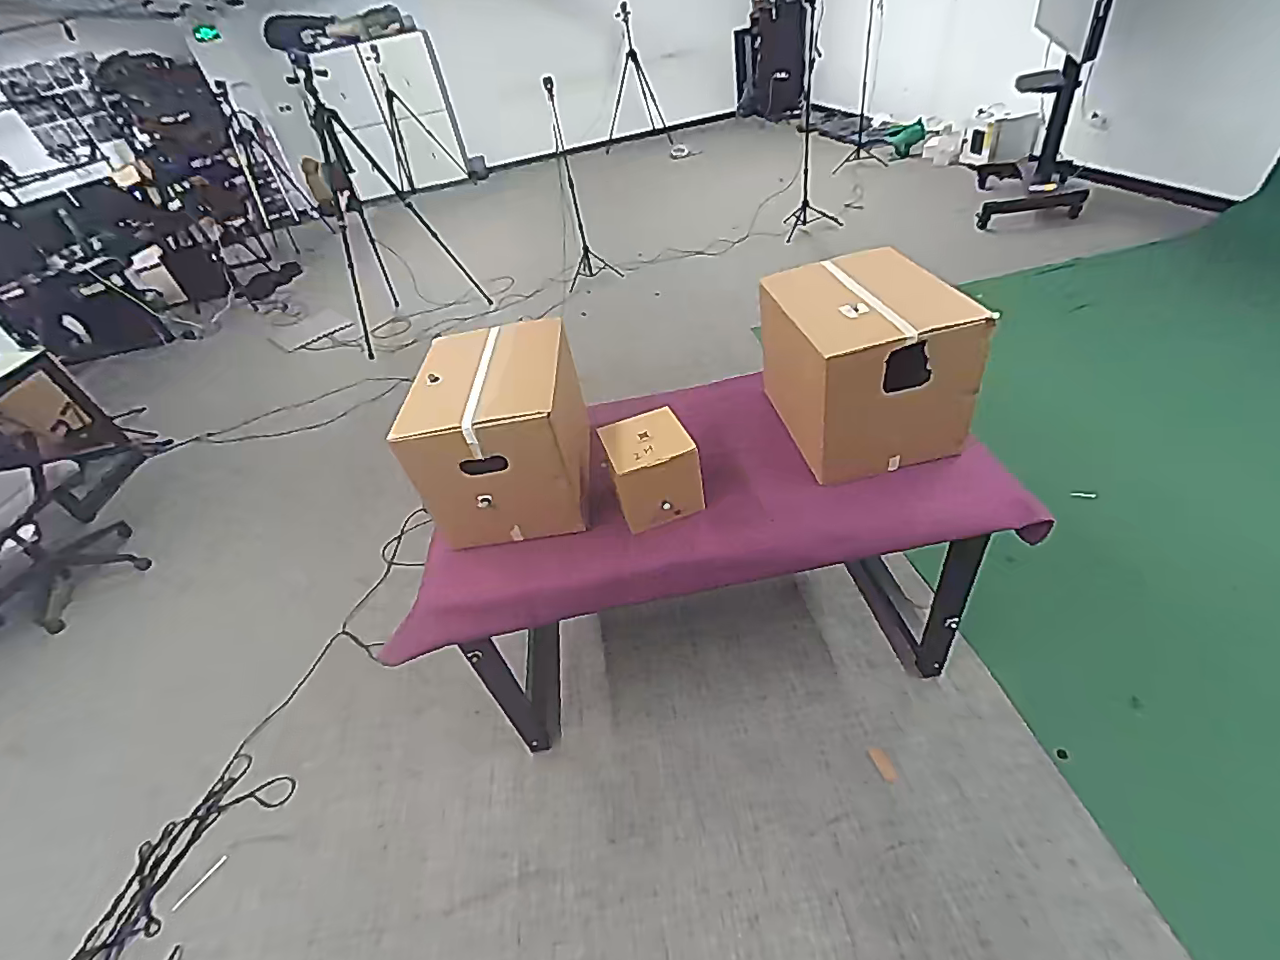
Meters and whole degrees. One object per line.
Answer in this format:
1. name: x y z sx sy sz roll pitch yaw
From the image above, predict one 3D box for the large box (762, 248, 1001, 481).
1. large box: 0.482 -0.263 1.191 0.320 0.320 0.408 -14 41 2
